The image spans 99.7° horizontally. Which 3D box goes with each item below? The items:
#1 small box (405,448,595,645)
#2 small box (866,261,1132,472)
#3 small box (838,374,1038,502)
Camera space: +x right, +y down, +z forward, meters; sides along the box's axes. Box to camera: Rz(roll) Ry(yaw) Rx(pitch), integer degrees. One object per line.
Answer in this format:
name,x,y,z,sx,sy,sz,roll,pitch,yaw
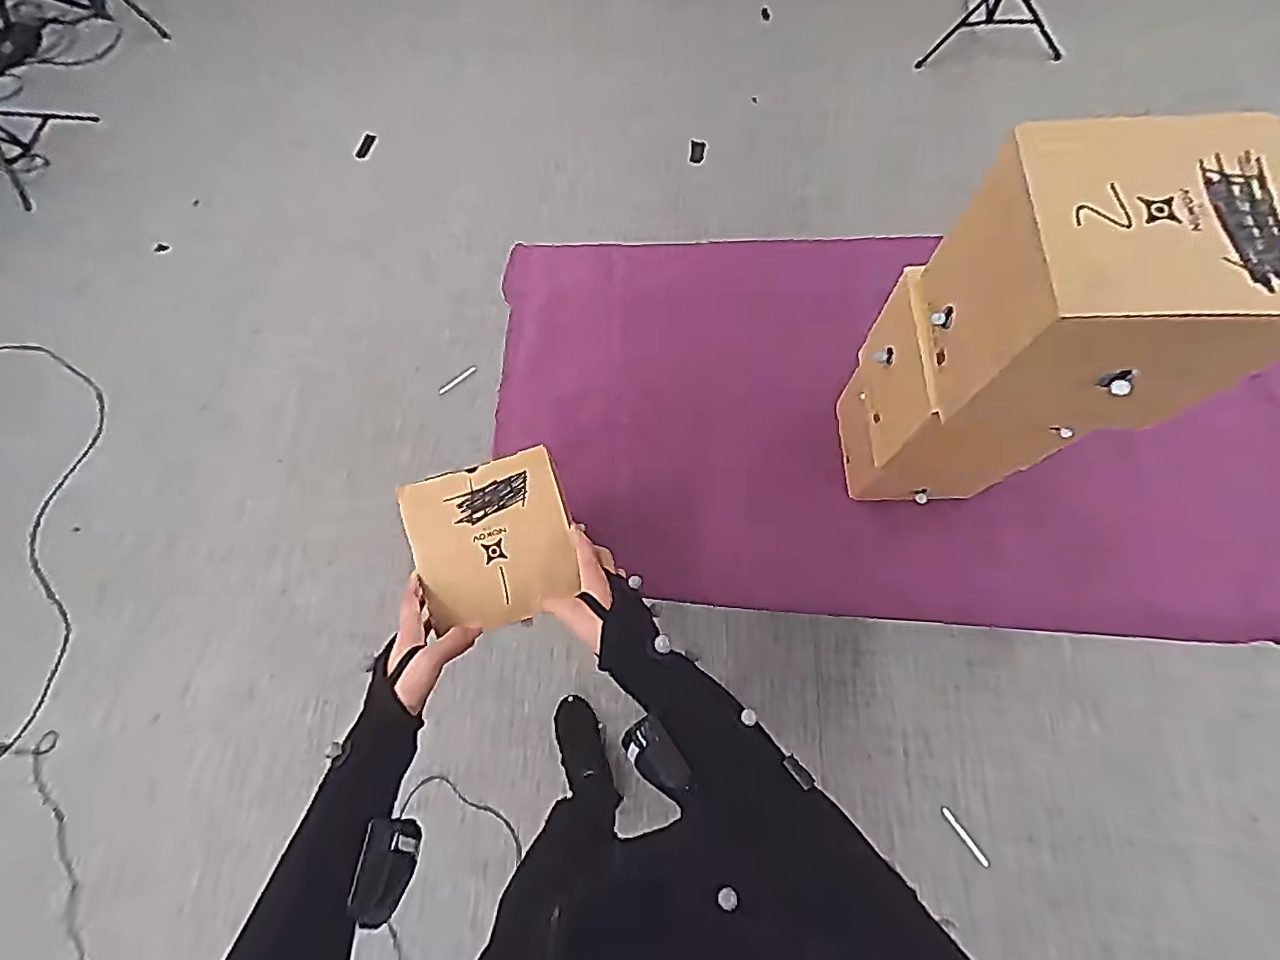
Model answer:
small box,-0.156,0.079,0.651,0.168,0.176,0.179,-16,84,-6
small box,0.360,-0.111,0.589,0.179,0.176,0.168,-1,72,4
small box,0.392,-0.070,0.745,0.179,0.176,0.168,-1,71,4
